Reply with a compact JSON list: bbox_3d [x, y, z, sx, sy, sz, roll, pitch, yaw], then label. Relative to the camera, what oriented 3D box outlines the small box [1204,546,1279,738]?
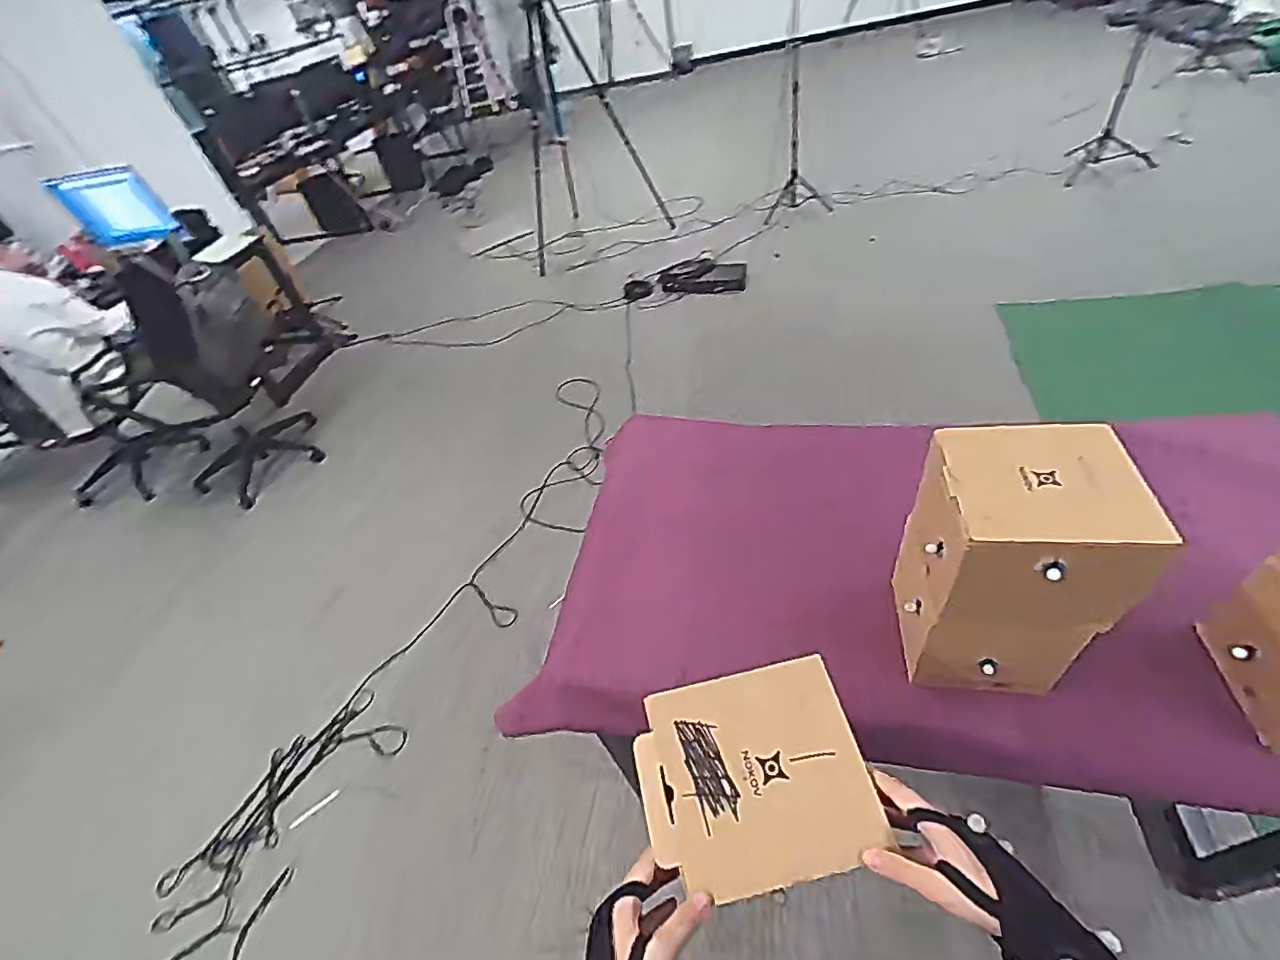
[{"bbox_3d":[0.811,0.187,0.601,0.179,0.176,0.168,-3,47,16],"label":"small box"}]

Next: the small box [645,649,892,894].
[{"bbox_3d":[0.113,0.293,0.540,0.179,0.176,0.168,-13,55,-2],"label":"small box"}]

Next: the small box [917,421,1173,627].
[{"bbox_3d":[0.426,0.052,0.613,0.179,0.176,0.168,-1,47,15],"label":"small box"}]

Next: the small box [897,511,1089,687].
[{"bbox_3d":[0.455,0.160,0.731,0.168,0.176,0.179,-1,45,15],"label":"small box"}]
